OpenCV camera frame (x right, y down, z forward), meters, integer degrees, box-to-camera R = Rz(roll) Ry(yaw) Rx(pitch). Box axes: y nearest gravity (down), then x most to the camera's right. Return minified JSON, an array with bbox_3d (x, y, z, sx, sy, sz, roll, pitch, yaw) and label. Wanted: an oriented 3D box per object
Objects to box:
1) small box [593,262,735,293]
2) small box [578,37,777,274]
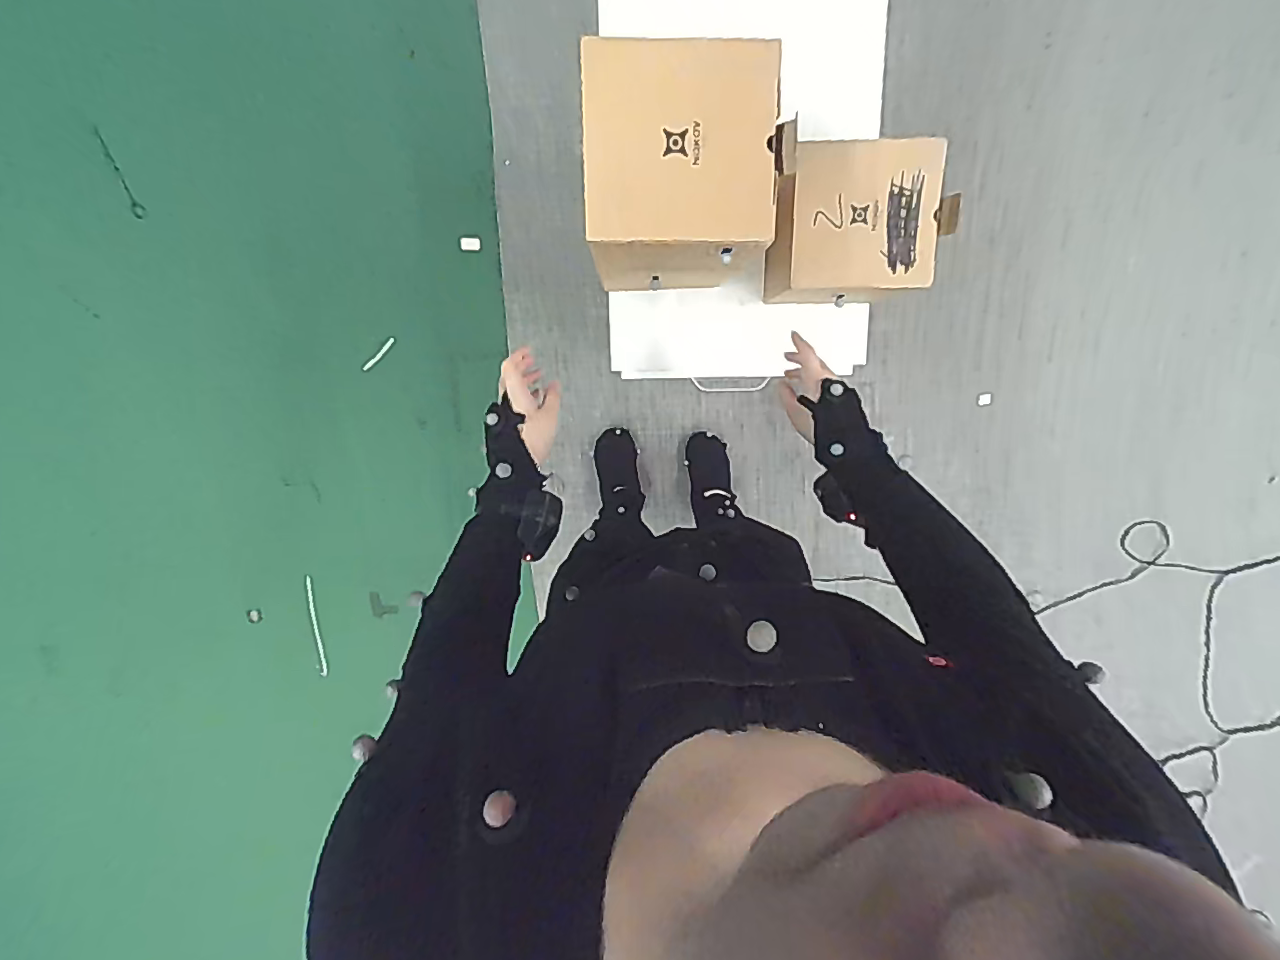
[{"bbox_3d":[0.028,-0.349,0.722,0.179,0.176,0.168,-3,101,0],"label":"small box"},{"bbox_3d":[0.031,-0.315,0.561,0.179,0.176,0.168,-1,100,-3],"label":"small box"}]
